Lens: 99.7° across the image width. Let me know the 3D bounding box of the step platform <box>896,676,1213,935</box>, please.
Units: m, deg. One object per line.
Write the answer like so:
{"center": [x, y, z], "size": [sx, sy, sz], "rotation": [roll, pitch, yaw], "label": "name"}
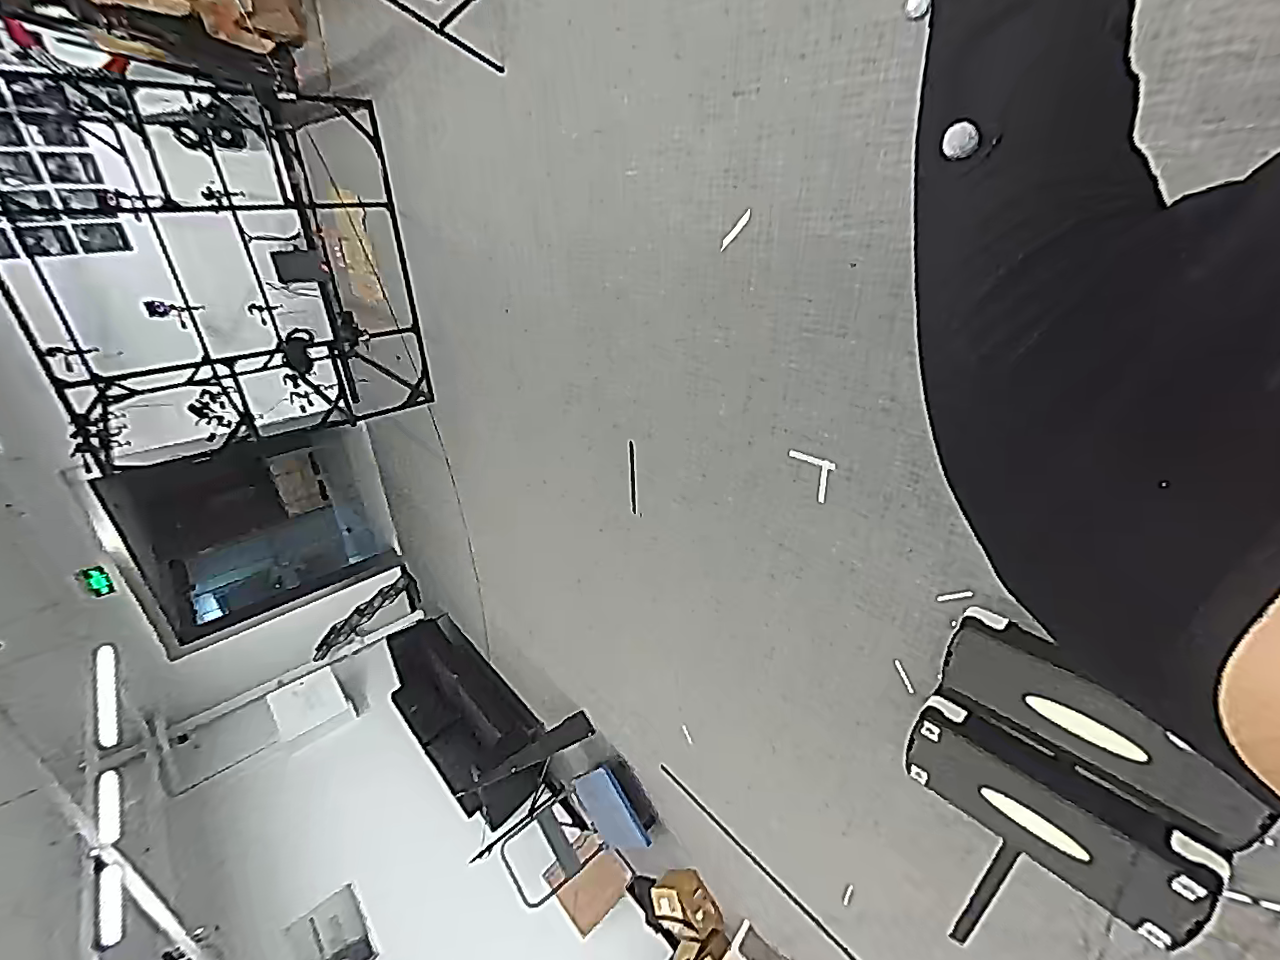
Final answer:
{"center": [1.090, 0.868, 1.513], "size": [0.684, 0.204, 0.286], "rotation": [26, 128, 44], "label": "step platform"}
